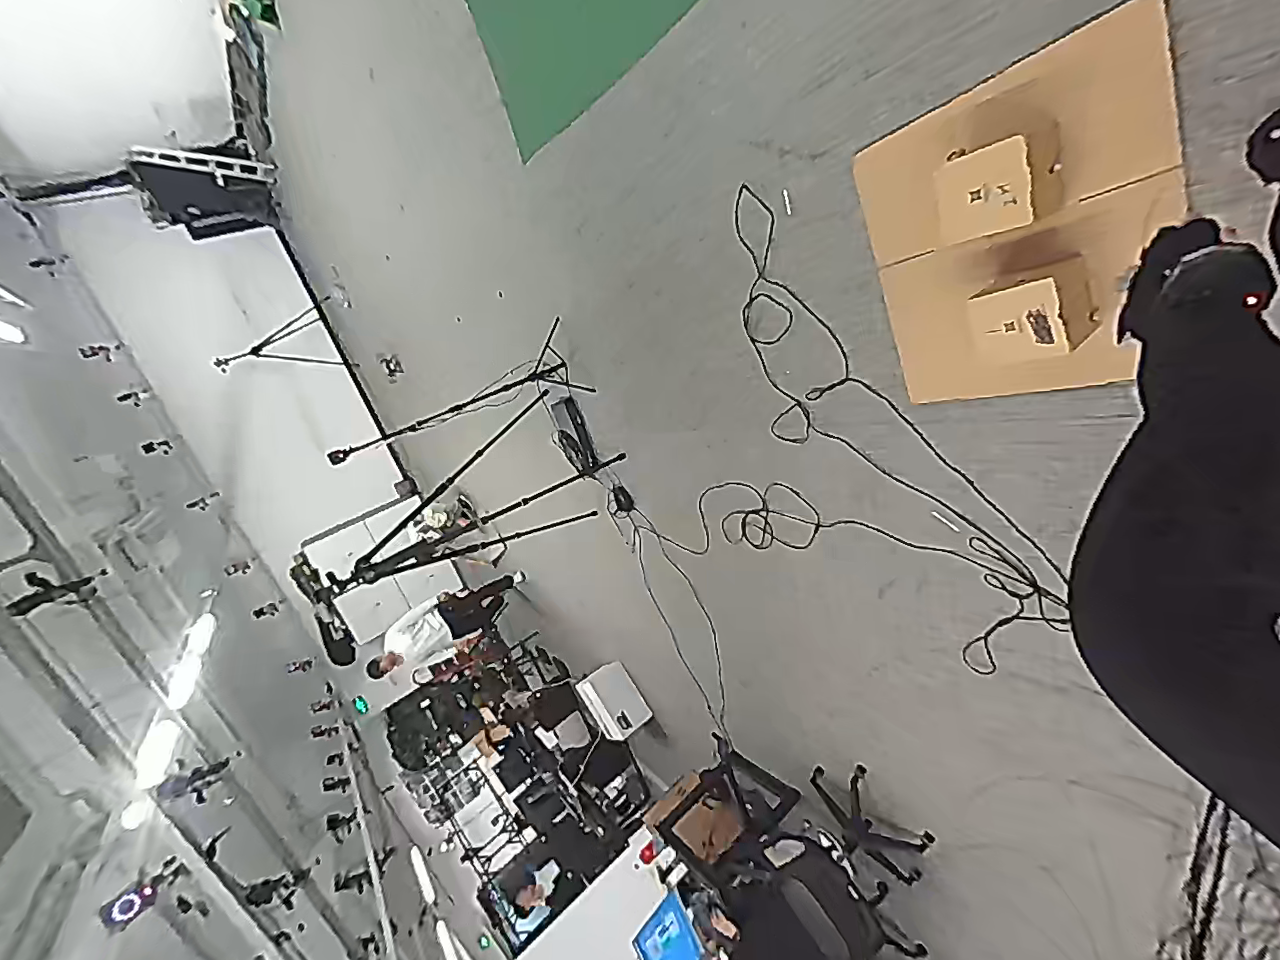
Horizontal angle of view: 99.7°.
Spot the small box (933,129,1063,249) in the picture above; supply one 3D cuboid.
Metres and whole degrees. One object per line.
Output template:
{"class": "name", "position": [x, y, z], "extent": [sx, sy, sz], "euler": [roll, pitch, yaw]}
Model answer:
{"class": "small box", "position": [0.757, -0.611, 1.144], "extent": [0.179, 0.176, 0.168], "euler": [7, 123, 54]}

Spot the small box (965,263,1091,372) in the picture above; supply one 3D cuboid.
{"class": "small box", "position": [0.865, -0.359, 1.198], "extent": [0.179, 0.176, 0.168], "euler": [-2, 115, 58]}
